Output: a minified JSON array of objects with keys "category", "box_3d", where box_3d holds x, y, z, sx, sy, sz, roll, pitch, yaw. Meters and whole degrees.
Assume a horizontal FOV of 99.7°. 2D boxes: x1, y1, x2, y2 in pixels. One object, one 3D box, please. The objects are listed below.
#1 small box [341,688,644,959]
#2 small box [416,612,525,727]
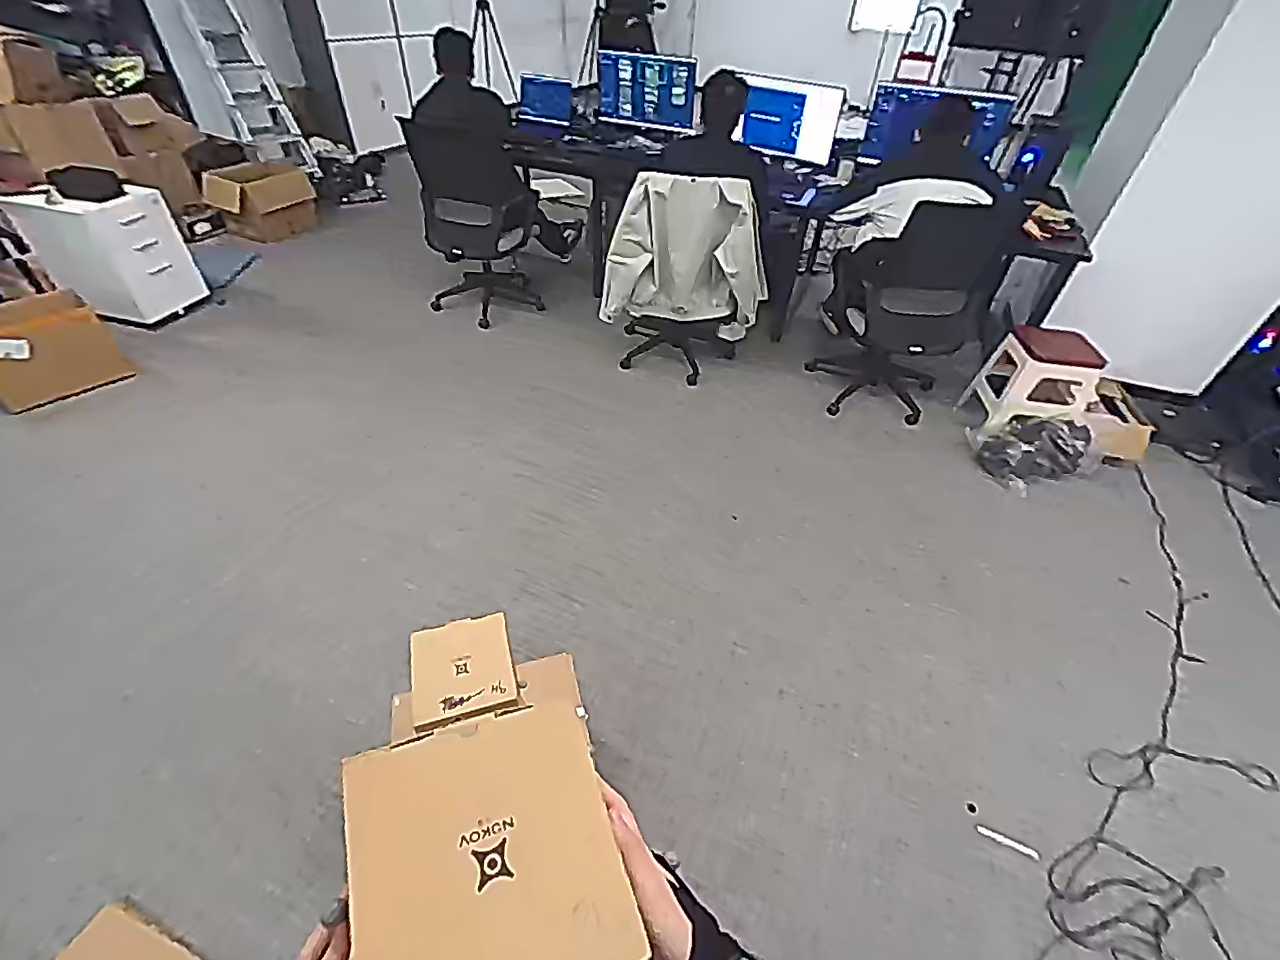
[{"category":"small box","box_3d":[-0.119,0.291,0.405,0.168,0.176,0.179,-6,49,-27]},{"category":"small box","box_3d":[-0.301,0.374,0.978,0.168,0.176,0.179,-11,44,-15]}]
